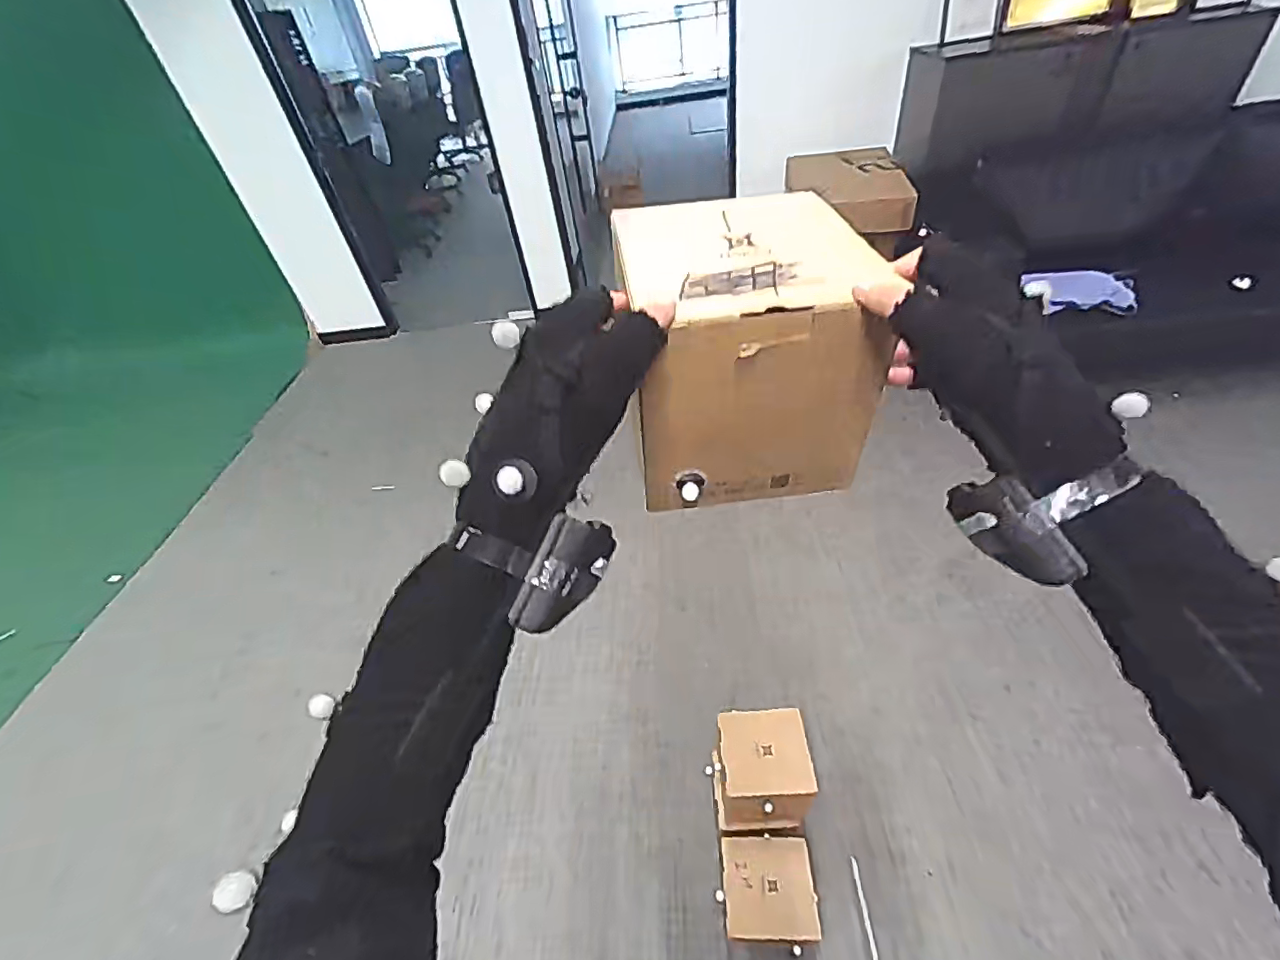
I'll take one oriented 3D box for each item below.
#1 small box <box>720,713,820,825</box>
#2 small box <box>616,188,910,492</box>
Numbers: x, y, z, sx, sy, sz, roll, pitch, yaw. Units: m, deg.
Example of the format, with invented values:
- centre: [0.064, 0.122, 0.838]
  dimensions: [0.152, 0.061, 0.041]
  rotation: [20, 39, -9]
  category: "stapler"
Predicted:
- centre: [0.263, 0.611, 1.139]
  dimensions: [0.179, 0.176, 0.168]
  rotation: [-5, 42, 4]
  category: "small box"
- centre: [0.075, -0.104, 0.424]
  dimensions: [0.168, 0.176, 0.179]
  rotation: [-6, 45, -2]
  category: "small box"
